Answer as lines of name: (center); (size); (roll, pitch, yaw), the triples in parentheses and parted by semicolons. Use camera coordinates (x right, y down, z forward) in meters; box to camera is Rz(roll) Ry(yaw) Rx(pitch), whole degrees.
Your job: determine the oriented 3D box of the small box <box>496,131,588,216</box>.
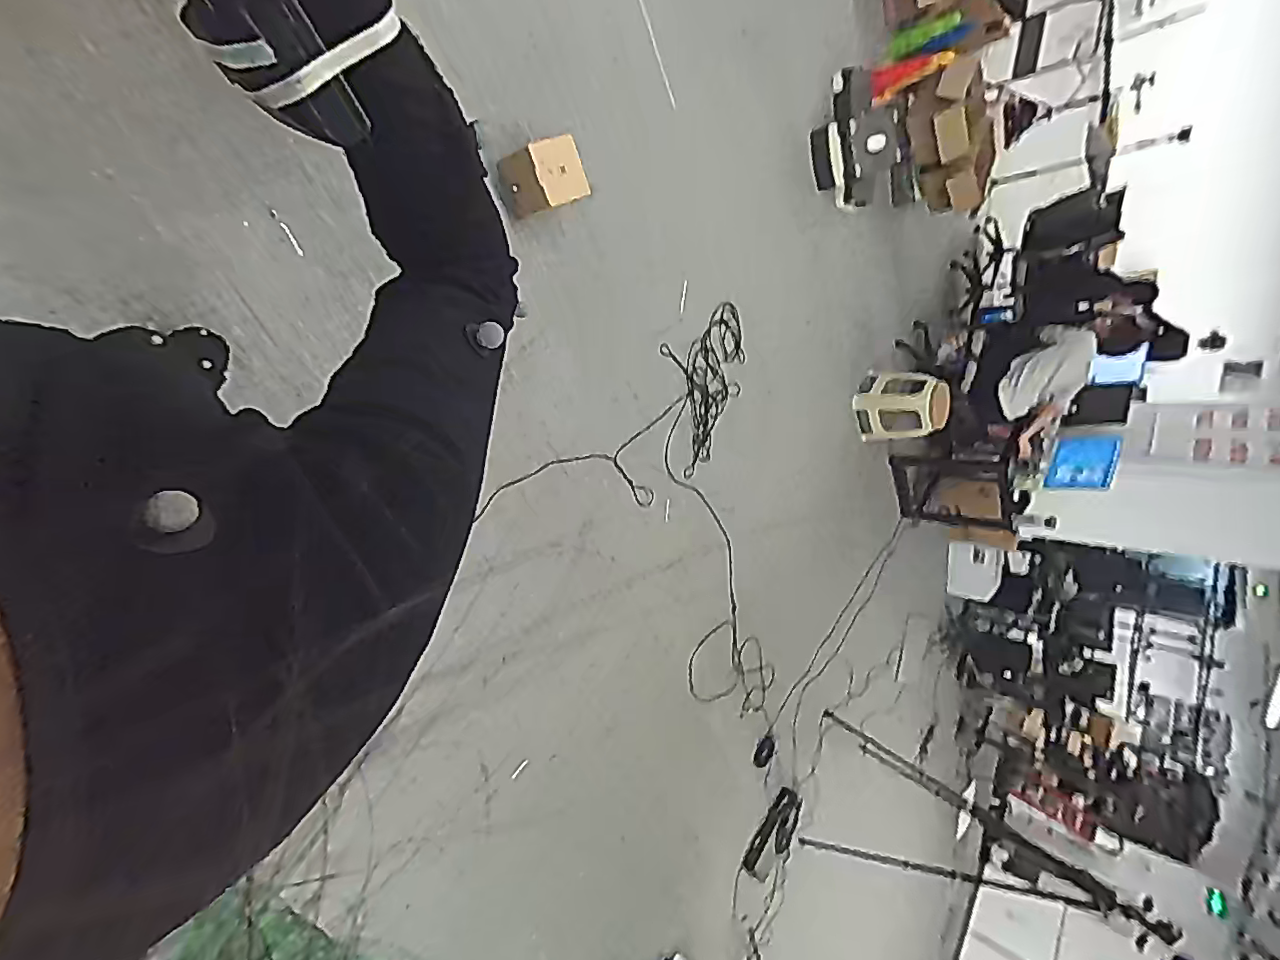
small box: (-0.294, -0.914, 1.617); (0.179, 0.176, 0.168); (-39, 121, -34)
